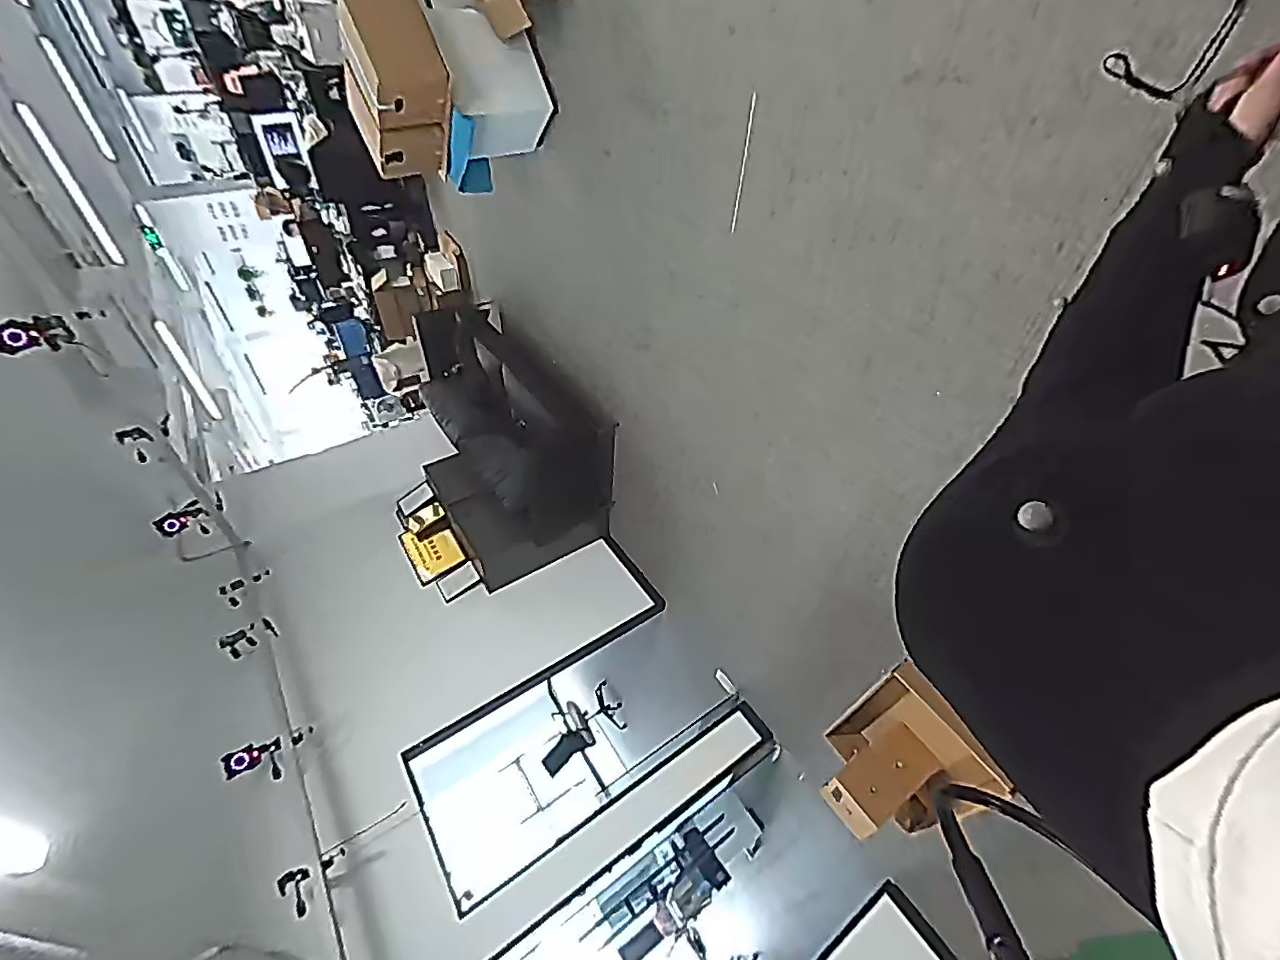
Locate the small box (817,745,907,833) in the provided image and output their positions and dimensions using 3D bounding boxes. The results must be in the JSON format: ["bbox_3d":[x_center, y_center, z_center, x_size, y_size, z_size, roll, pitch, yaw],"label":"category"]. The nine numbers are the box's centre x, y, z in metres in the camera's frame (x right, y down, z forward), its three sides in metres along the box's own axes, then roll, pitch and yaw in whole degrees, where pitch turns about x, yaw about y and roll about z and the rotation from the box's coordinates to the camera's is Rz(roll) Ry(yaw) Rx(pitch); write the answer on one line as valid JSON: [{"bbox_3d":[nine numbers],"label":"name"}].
[{"bbox_3d":[0.718,0.994,1.754,0.179,0.176,0.168,46,148,32],"label":"small box"}]

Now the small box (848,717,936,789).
[{"bbox_3d":[0.851,0.934,1.830,0.179,0.176,0.168,48,149,31],"label":"small box"}]
